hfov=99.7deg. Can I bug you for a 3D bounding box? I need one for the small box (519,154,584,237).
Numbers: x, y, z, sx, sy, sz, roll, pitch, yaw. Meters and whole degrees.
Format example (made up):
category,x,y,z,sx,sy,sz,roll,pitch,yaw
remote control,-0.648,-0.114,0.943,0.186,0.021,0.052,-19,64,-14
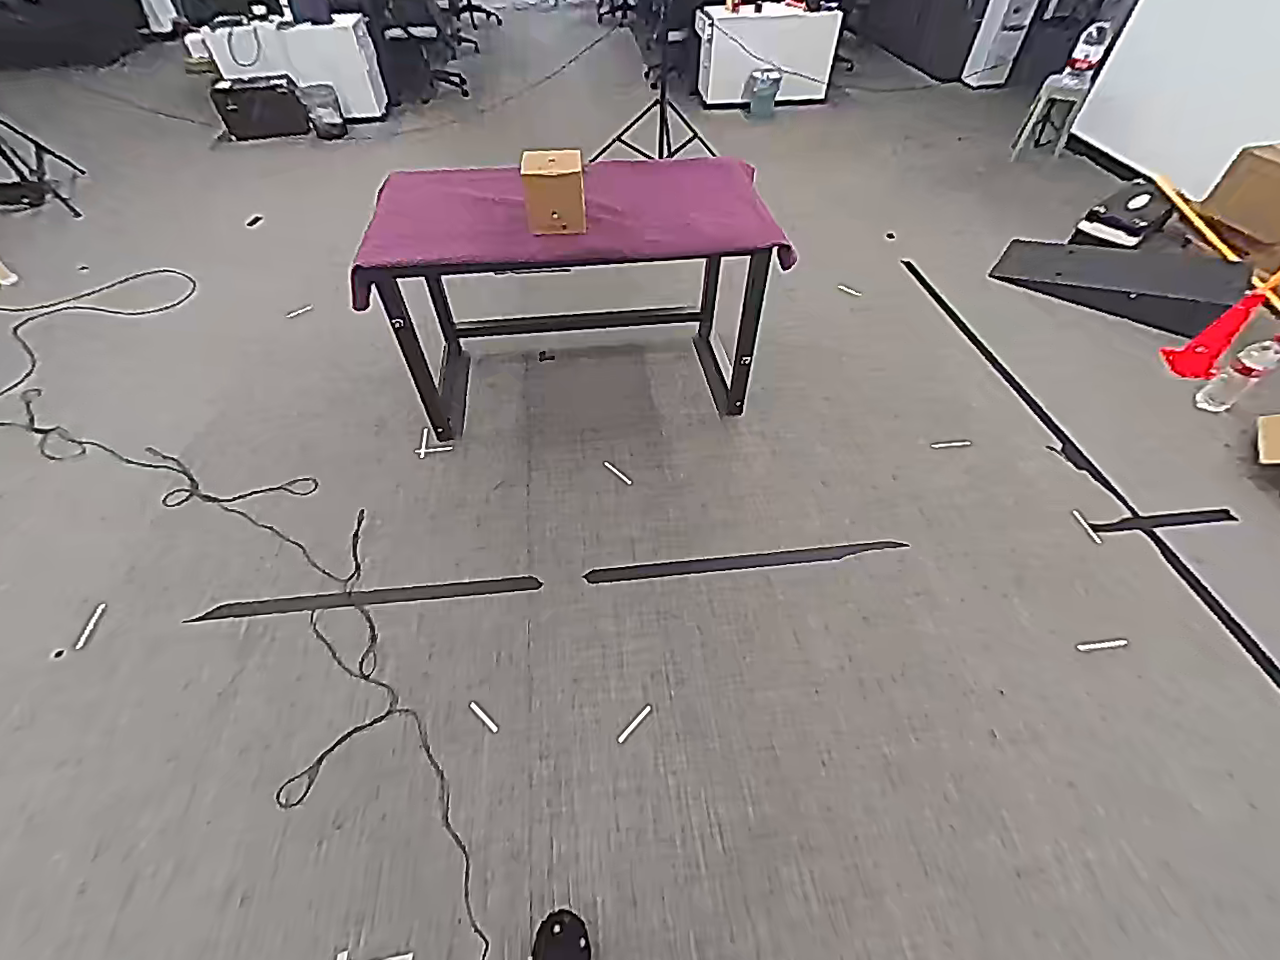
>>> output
category,x,y,z,sx,sy,sz,roll,pitch,yaw
small box,-0.254,-0.829,1.579,0.168,0.176,0.179,-4,49,-3
